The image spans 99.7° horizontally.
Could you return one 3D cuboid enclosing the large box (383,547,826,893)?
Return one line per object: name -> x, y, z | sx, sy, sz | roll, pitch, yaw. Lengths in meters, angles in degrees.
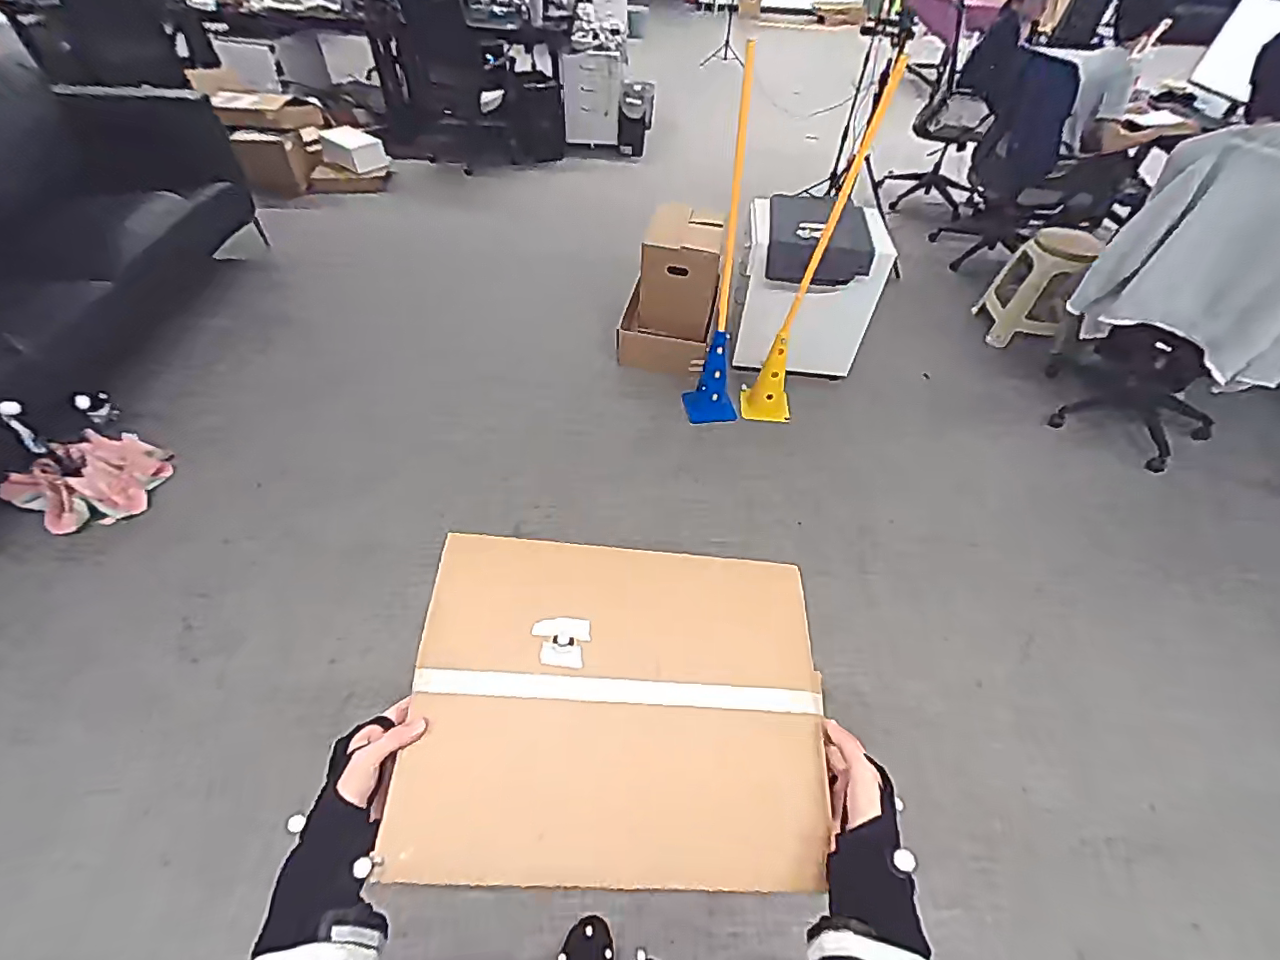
large box -> -0.037, 0.299, 0.681 | 0.408, 0.320, 0.320 | 6, 58, -5
